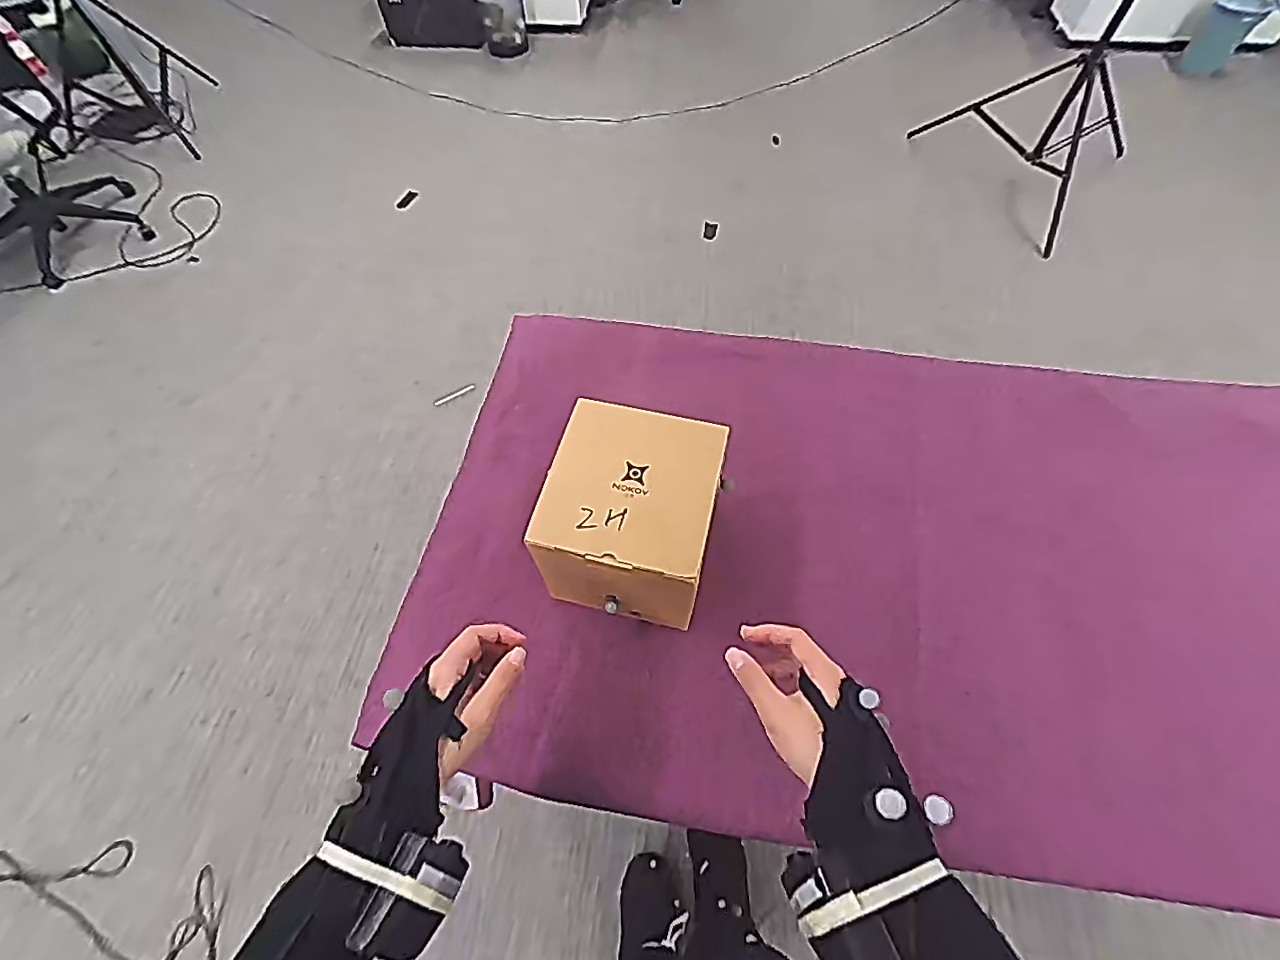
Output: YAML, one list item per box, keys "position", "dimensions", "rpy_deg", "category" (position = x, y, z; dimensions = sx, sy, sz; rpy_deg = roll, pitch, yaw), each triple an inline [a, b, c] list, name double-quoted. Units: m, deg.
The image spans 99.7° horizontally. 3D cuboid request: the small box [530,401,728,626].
- position: [-0.006, 0.042, 0.606]
  dimensions: [0.168, 0.176, 0.179]
  rpy_deg: [12, 60, 8]
  category: "small box"
